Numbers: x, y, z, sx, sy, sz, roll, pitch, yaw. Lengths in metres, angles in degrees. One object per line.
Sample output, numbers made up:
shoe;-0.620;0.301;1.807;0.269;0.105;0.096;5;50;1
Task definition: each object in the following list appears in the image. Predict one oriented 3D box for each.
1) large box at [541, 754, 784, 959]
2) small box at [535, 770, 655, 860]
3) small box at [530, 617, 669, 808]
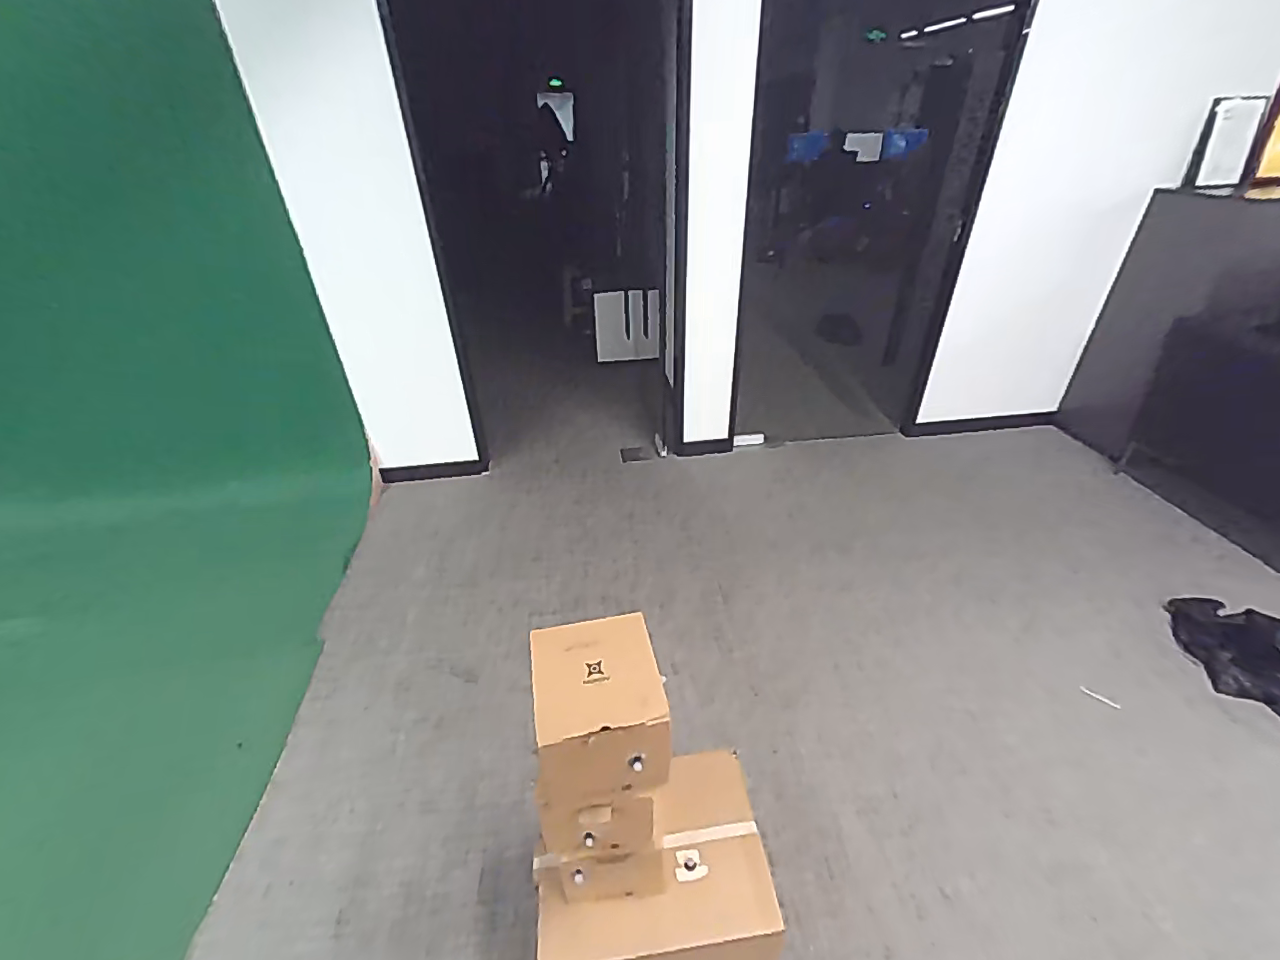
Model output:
large box;0.020;0.796;1.061;0.408;0.320;0.320;-4;35;-6
small box;-0.063;0.455;0.842;0.168;0.176;0.179;-2;34;-1
small box;-0.058;0.323;0.748;0.168;0.176;0.179;-7;33;-10
